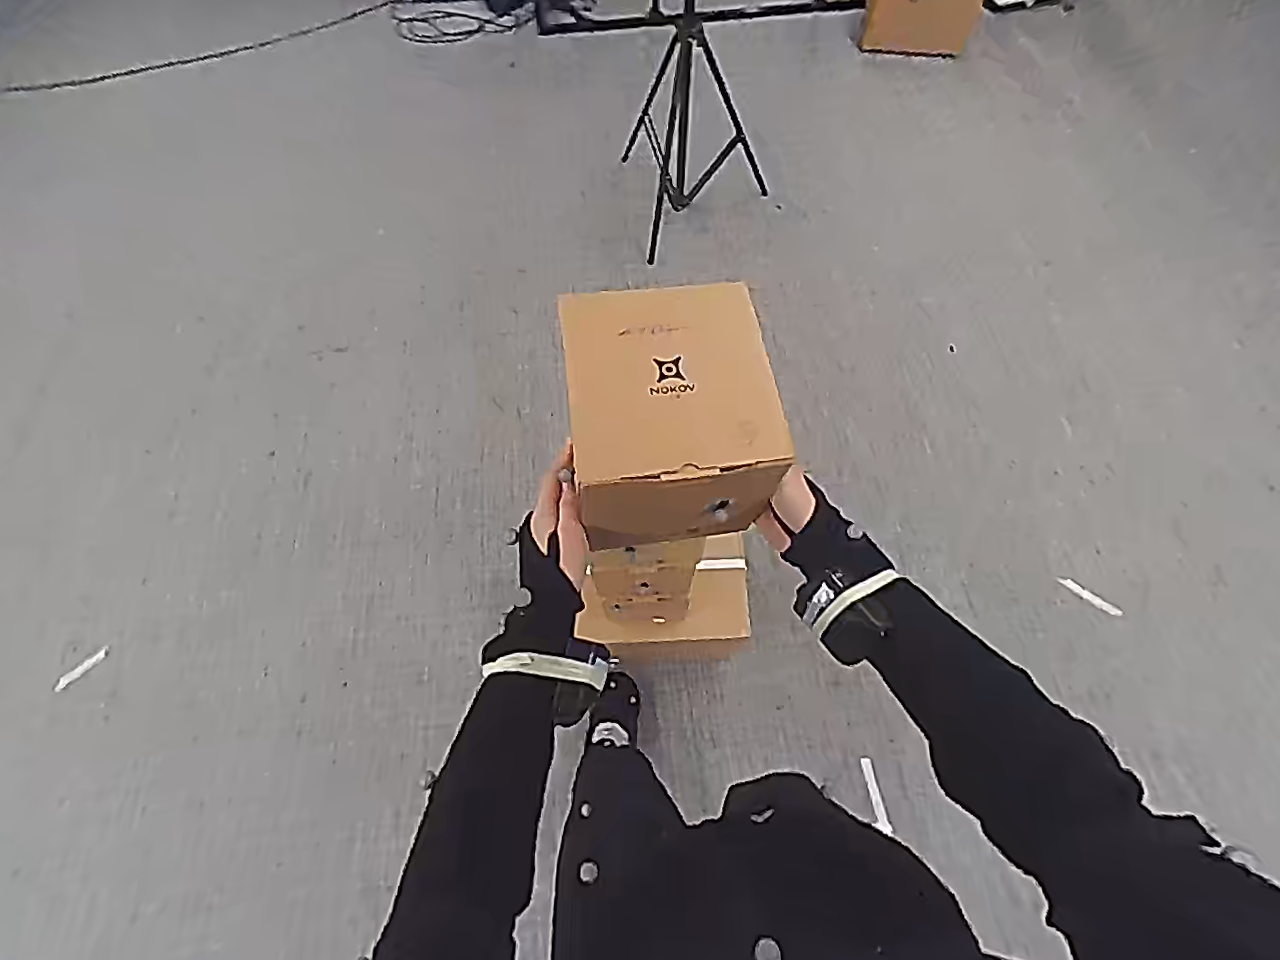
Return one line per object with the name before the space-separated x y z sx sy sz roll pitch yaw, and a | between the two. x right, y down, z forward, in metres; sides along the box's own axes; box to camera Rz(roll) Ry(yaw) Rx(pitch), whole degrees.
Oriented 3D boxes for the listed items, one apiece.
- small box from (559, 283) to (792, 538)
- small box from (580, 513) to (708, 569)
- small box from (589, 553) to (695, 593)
small box | 0.019 -0.053 0.503 0.168 0.176 0.179 -6 65 -7
small box | 0.005 0.023 0.776 0.168 0.176 0.179 -4 63 -1
small box | 0.005 0.093 0.923 0.168 0.176 0.179 -2 64 0
